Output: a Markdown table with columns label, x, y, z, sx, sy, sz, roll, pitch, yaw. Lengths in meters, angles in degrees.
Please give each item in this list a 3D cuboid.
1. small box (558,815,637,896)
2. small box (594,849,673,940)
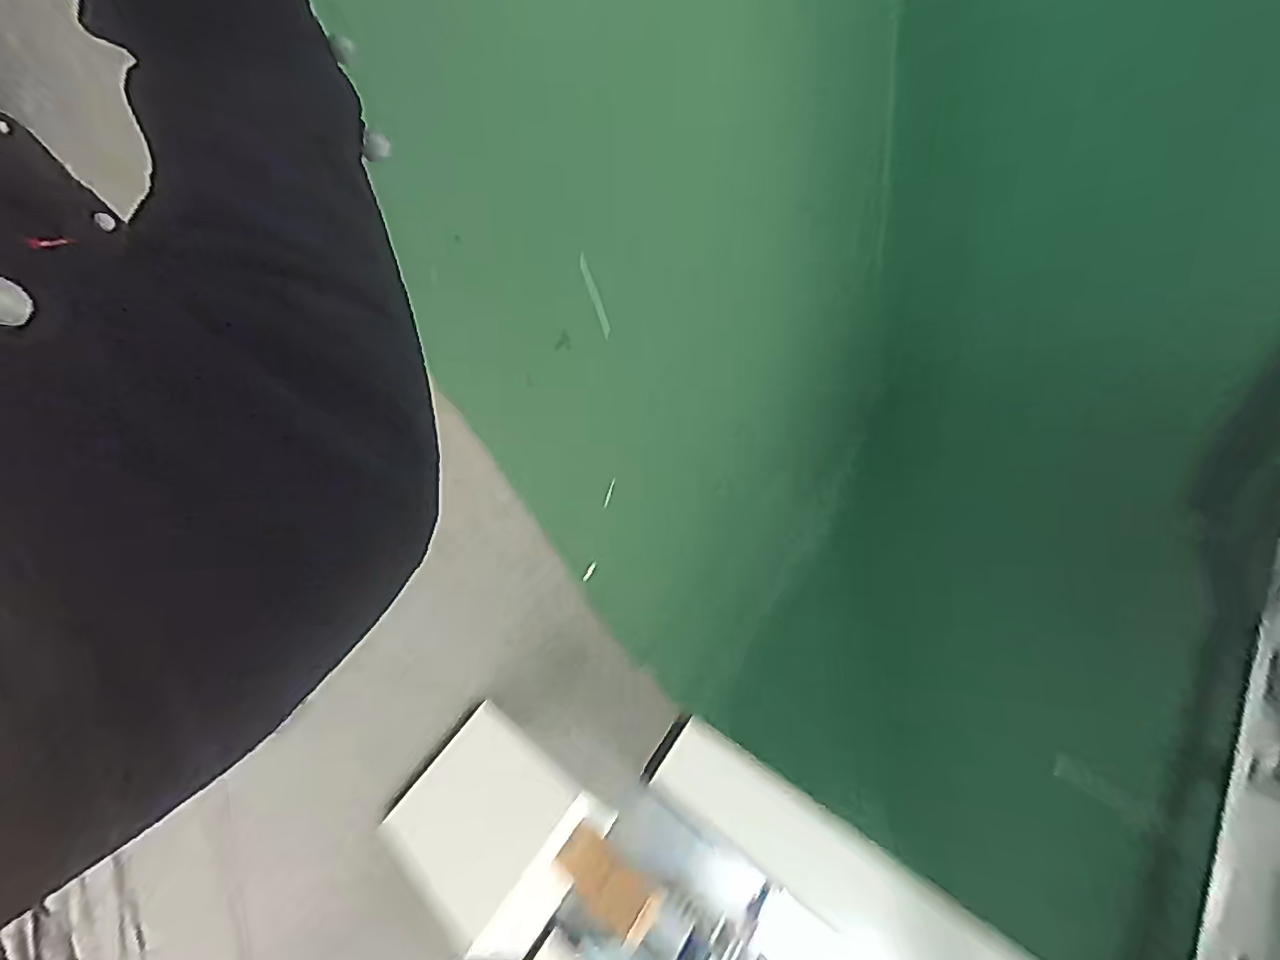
| label | x | y | z | sx | sy | sz | roll | pitch | yaw |
| --- | --- | --- | --- | --- | --- | --- | --- | --- | --- |
| small box | -0.146 | 1.286 | 1.848 | 0.168 | 0.176 | 0.179 | -51 | 139 | -22 |
| small box | -0.023 | 1.339 | 1.752 | 0.168 | 0.176 | 0.179 | -49 | 141 | -23 |
